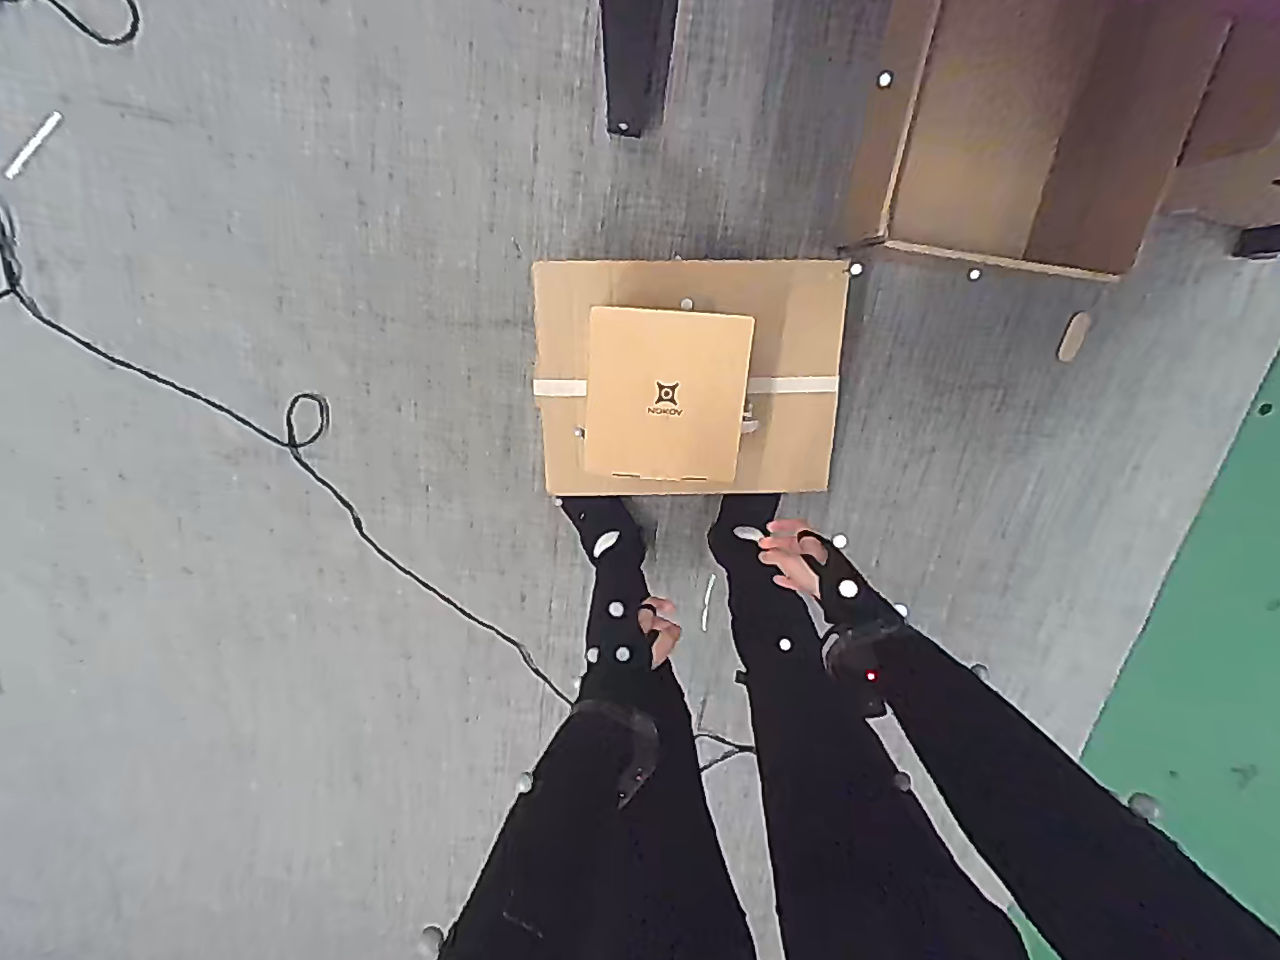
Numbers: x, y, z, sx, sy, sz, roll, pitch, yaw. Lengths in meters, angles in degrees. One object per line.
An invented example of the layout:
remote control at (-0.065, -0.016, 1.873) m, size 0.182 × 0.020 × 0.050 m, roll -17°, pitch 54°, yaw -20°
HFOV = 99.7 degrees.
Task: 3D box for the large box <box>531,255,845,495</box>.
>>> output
large box at (0.057, -0.175, 0.863) m, size 0.408 × 0.320 × 0.320 m, roll -1°, pitch 108°, yaw -2°
